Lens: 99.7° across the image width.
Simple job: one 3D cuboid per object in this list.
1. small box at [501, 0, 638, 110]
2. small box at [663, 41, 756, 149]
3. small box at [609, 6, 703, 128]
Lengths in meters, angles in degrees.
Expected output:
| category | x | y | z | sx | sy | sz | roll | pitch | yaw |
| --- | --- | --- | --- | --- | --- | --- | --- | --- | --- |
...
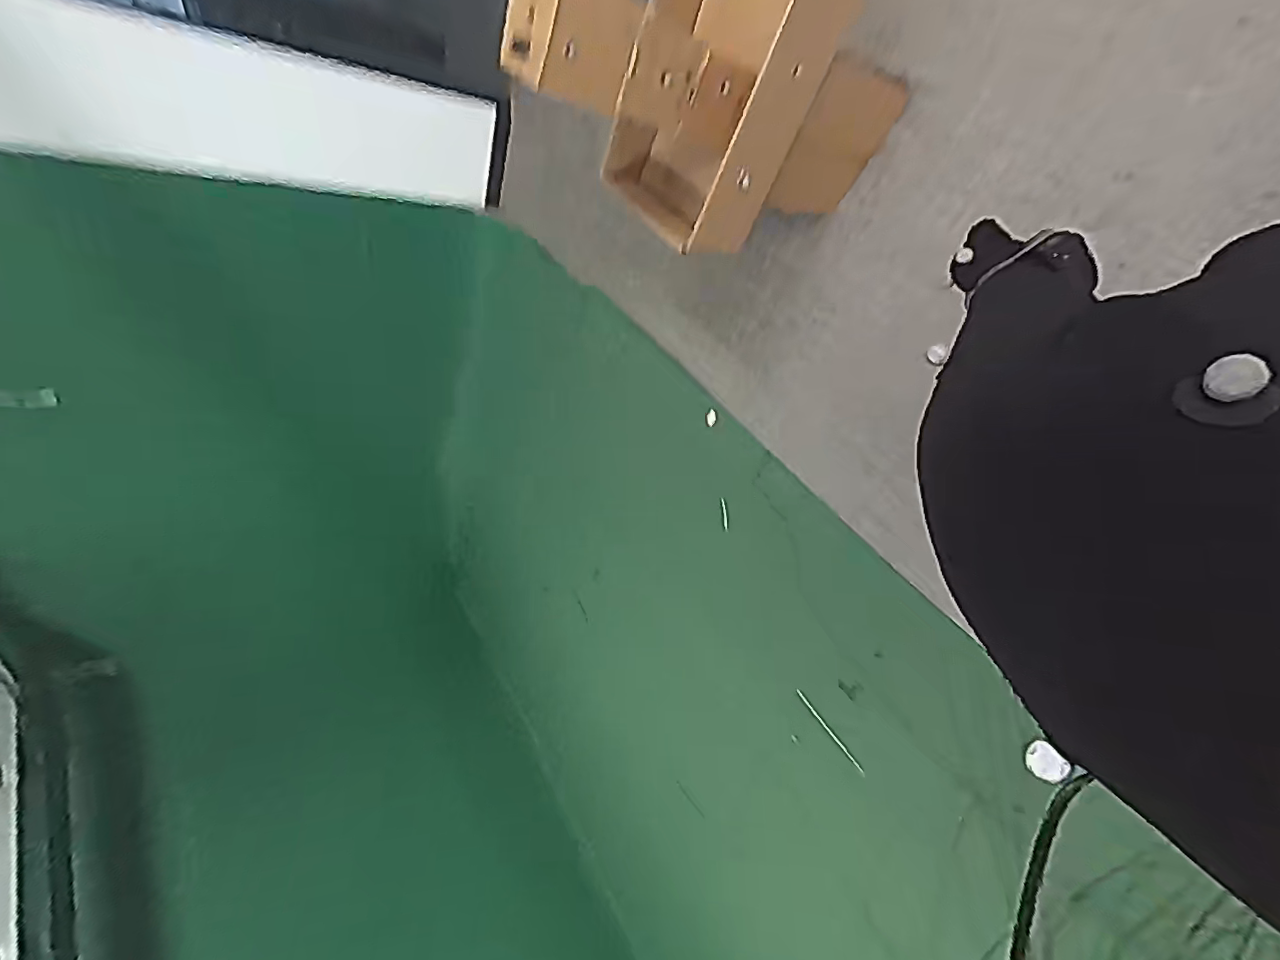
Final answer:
| category | x | y | z | sx | sy | sz | roll | pitch | yaw |
| --- | --- | --- | --- | --- | --- | --- | --- | --- | --- |
| small box | -0.130 | -0.819 | 0.993 | 0.168 | 0.176 | 0.179 | 52 | 132 | 28 |
| small box | 0.123 | -0.864 | 1.199 | 0.179 | 0.176 | 0.168 | 53 | 134 | 29 |
| small box | -0.003 | -0.845 | 1.096 | 0.179 | 0.176 | 0.168 | 49 | 132 | 29 |
